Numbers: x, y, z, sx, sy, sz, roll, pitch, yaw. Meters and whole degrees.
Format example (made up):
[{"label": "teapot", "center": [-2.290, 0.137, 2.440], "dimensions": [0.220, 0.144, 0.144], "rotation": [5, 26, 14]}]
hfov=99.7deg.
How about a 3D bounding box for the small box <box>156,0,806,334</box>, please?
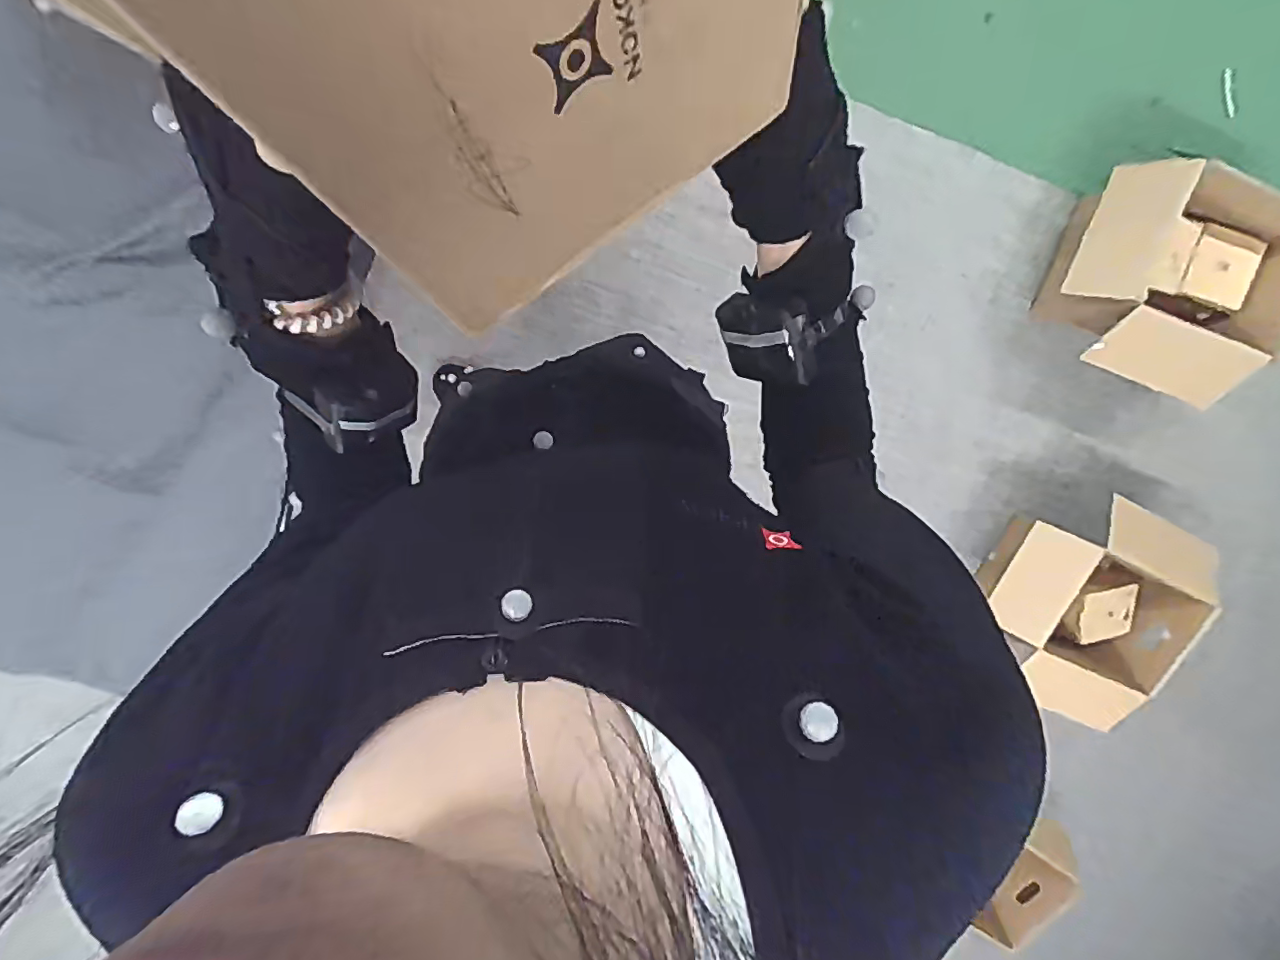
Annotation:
[{"label": "small box", "center": [-0.060, -0.193, 0.183], "dimensions": [0.179, 0.168, 0.176], "rotation": [-36, 77, 1]}]
